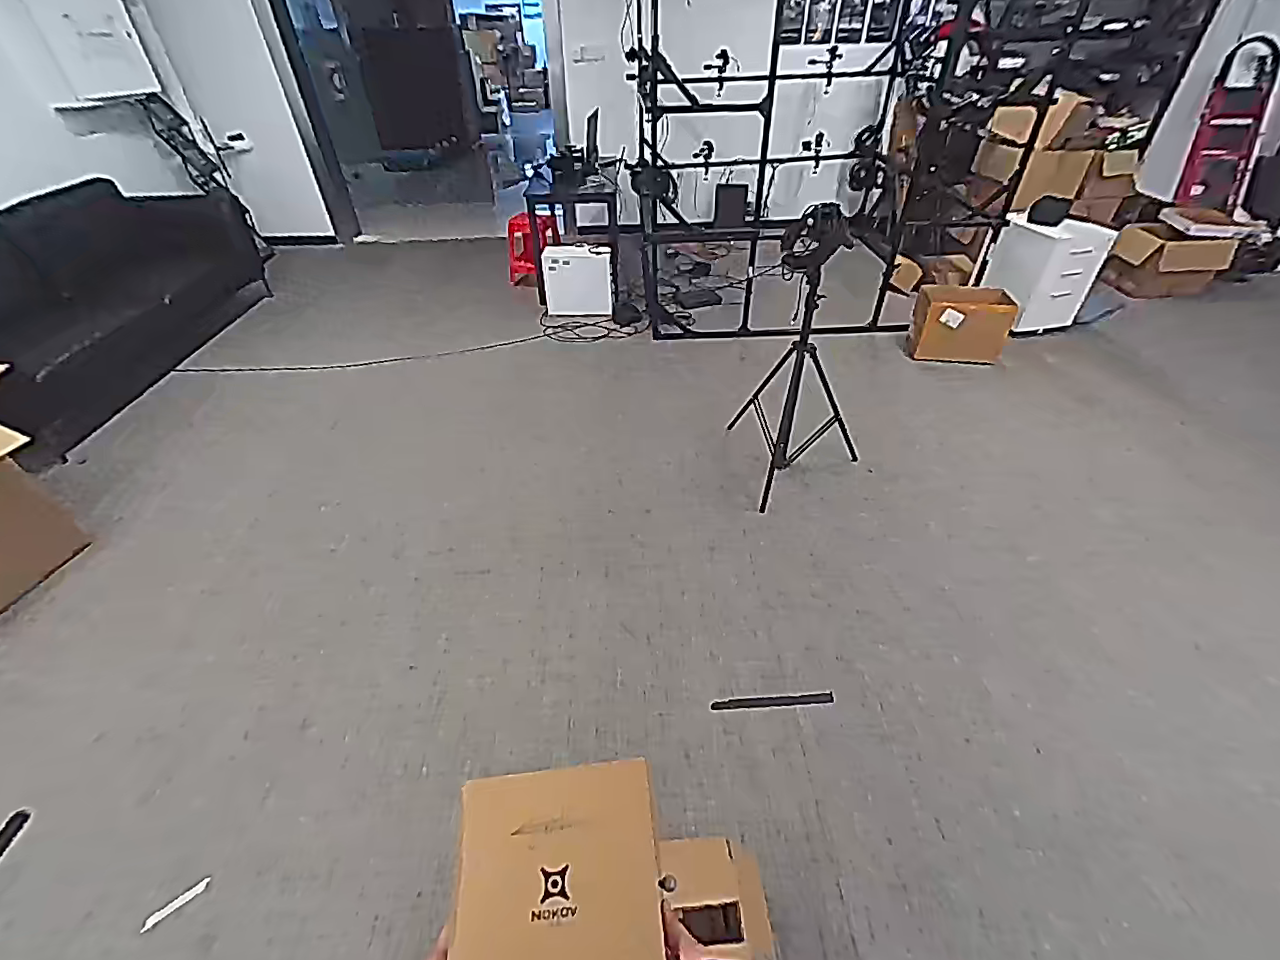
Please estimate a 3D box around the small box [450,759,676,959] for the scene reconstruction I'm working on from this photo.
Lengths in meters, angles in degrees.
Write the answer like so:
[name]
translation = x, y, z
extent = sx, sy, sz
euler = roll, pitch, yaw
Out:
[small box]
translation = -0.058, 0.371, 0.483
extent = 0.168, 0.176, 0.179
euler = -7, 51, -2
